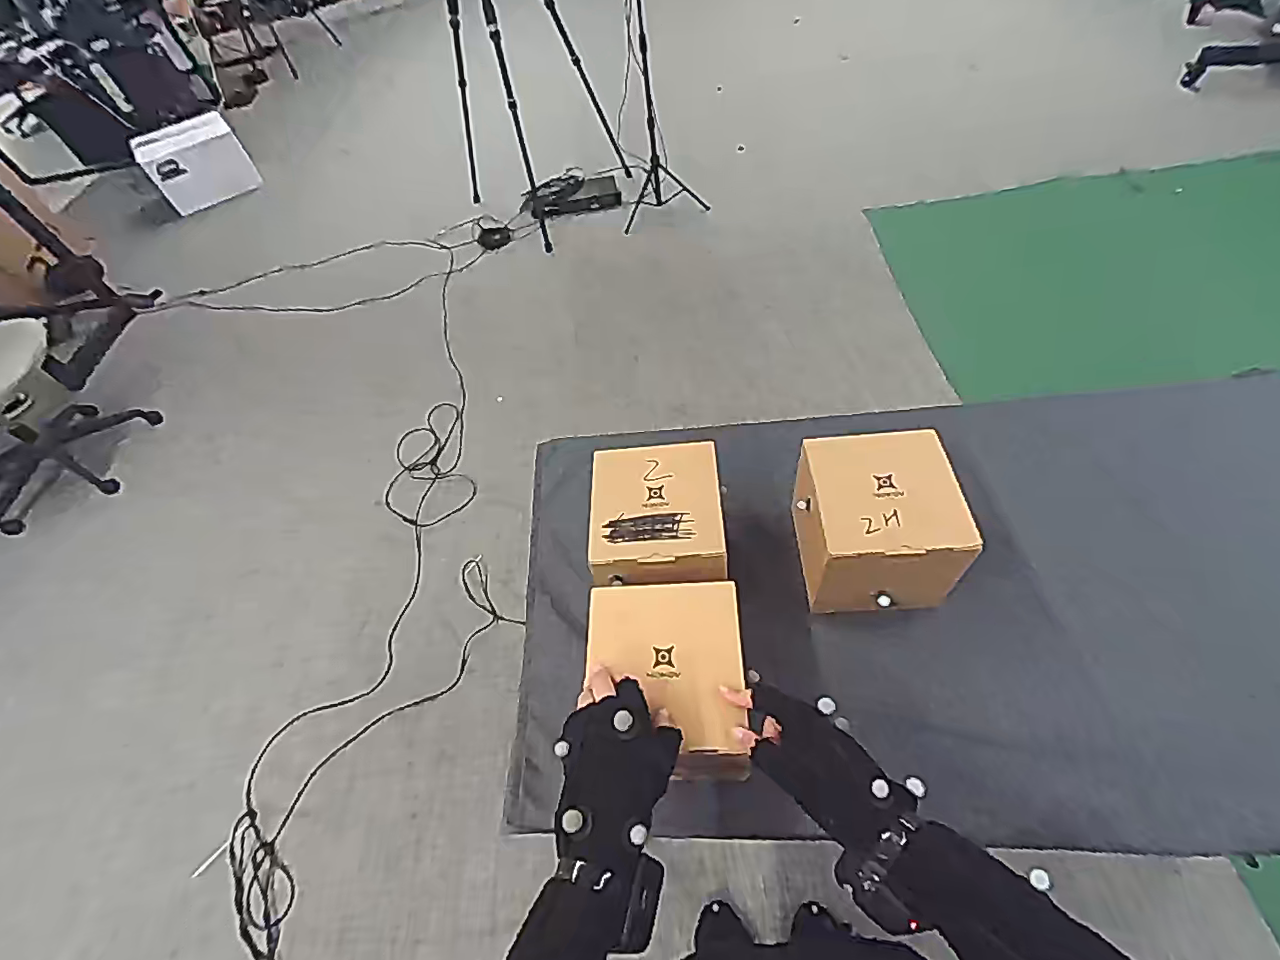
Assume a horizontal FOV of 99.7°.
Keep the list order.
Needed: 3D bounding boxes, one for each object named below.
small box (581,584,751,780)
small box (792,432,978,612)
[{"bbox_3d":[0.034,0.237,0.628,0.168,0.176,0.179,-4,54,6],"label":"small box"},{"bbox_3d":[0.303,0.059,0.716,0.168,0.176,0.179,-4,54,6],"label":"small box"}]
